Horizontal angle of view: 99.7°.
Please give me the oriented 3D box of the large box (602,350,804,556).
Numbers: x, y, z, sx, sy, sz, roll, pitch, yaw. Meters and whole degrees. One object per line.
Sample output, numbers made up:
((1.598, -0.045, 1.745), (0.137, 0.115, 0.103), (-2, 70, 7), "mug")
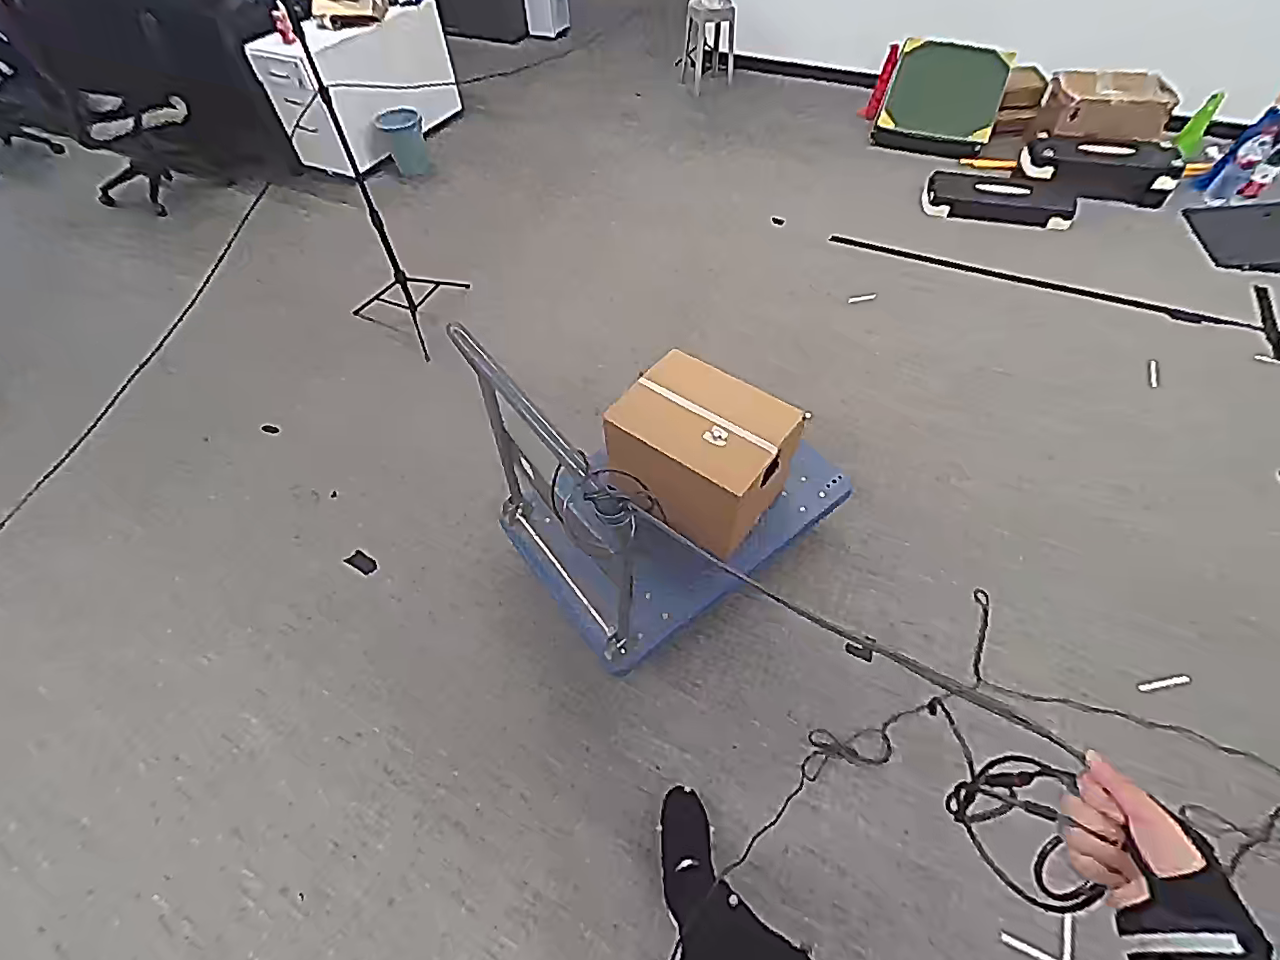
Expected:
((0.152, -0.072, 1.435), (0.408, 0.320, 0.320), (32, 62, 21), "large box")
